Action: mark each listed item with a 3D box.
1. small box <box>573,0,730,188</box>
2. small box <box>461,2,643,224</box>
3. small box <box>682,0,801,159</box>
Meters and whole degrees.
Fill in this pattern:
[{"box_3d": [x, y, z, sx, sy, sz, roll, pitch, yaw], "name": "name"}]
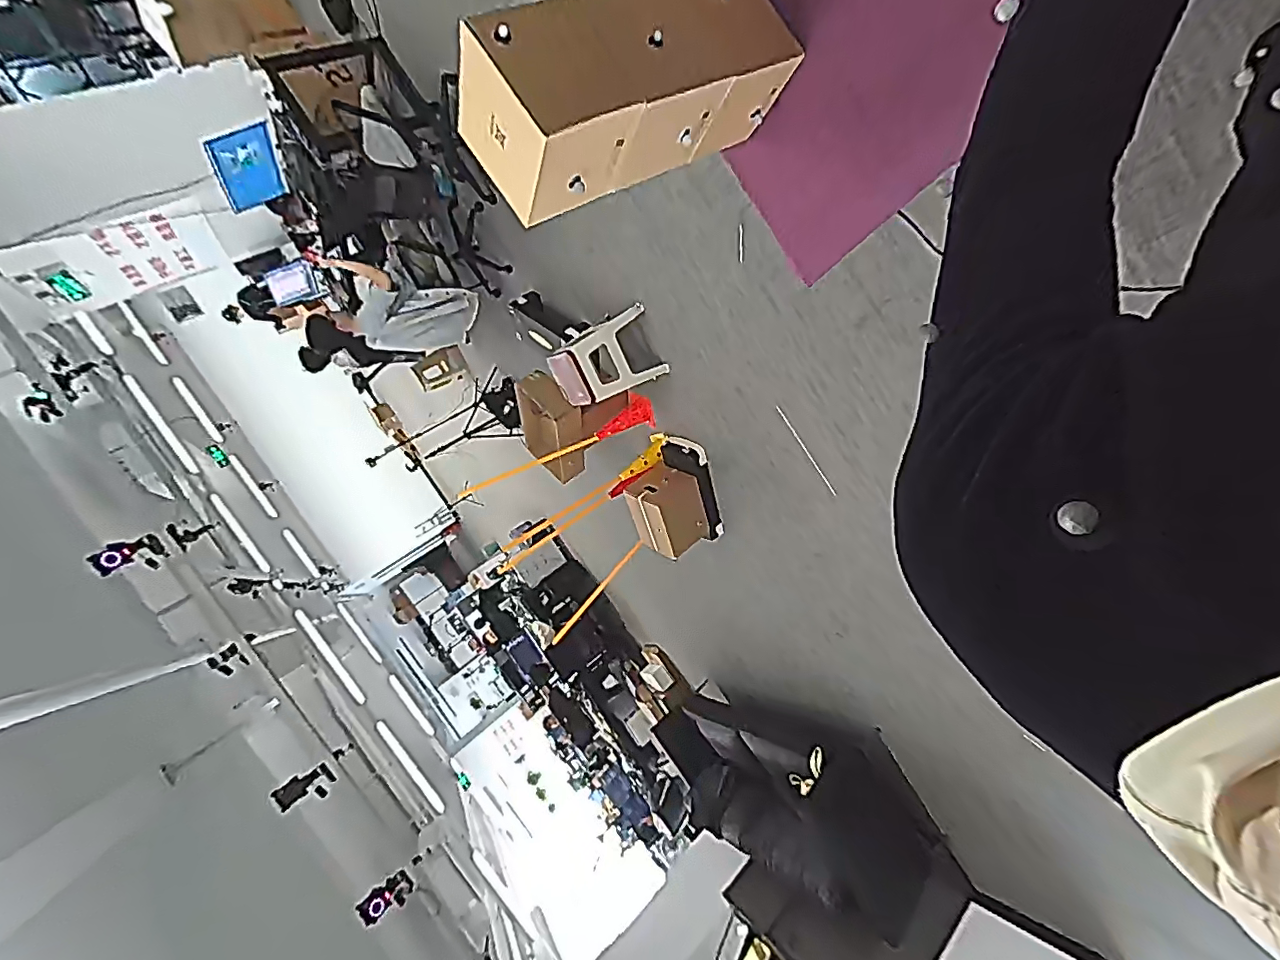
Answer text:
[{"box_3d": [-0.002, -0.586, 0.807, 0.179, 0.176, 0.168, 54, 156, -1], "name": "small box"}, {"box_3d": [-0.122, -0.500, 0.740, 0.179, 0.176, 0.168, 55, 156, 0], "name": "small box"}, {"box_3d": [0.119, -0.672, 0.875, 0.179, 0.176, 0.168, 54, 156, -2], "name": "small box"}]
